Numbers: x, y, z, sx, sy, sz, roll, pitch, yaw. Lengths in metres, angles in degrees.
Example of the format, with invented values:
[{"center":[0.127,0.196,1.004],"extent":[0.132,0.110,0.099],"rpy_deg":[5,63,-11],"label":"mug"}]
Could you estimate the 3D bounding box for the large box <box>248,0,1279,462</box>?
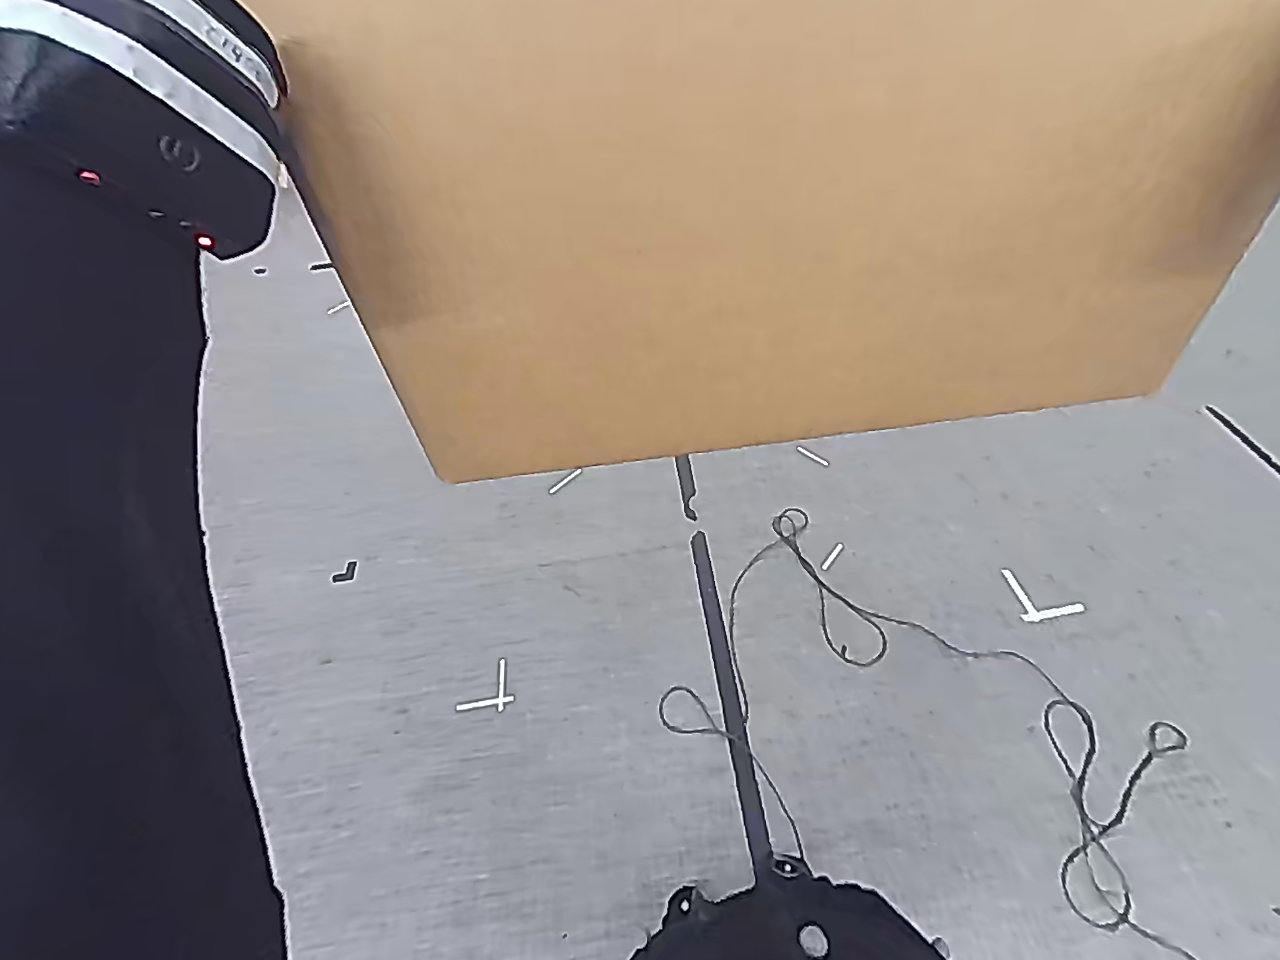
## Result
[{"center":[0.057,-0.240,0.320],"extent":[0.408,0.320,0.320],"rpy_deg":[-7,42,0],"label":"large box"}]
